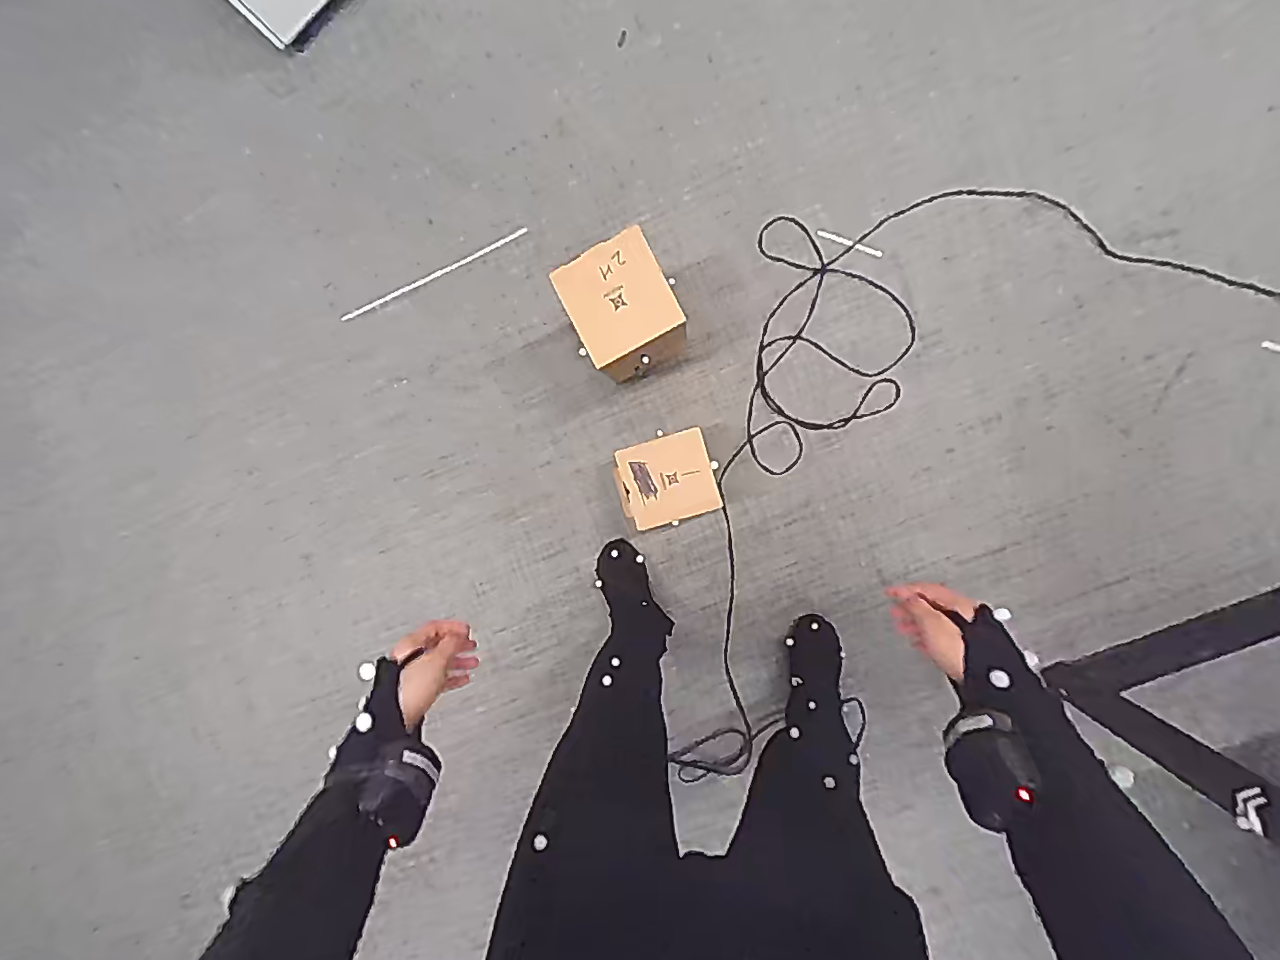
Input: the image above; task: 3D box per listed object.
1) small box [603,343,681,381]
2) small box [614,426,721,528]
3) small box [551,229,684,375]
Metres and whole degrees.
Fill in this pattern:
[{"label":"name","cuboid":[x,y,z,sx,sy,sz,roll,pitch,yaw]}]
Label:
[{"label":"small box","cuboid":[-0.022,-0.315,1.117,0.168,0.176,0.179,-26,91,7]},{"label":"small box","cuboid":[0.061,-0.009,1.131,0.179,0.176,0.168,-17,93,5]},{"label":"small box","cuboid":[-0.029,-0.297,0.953,0.168,0.176,0.179,-27,91,6]}]
